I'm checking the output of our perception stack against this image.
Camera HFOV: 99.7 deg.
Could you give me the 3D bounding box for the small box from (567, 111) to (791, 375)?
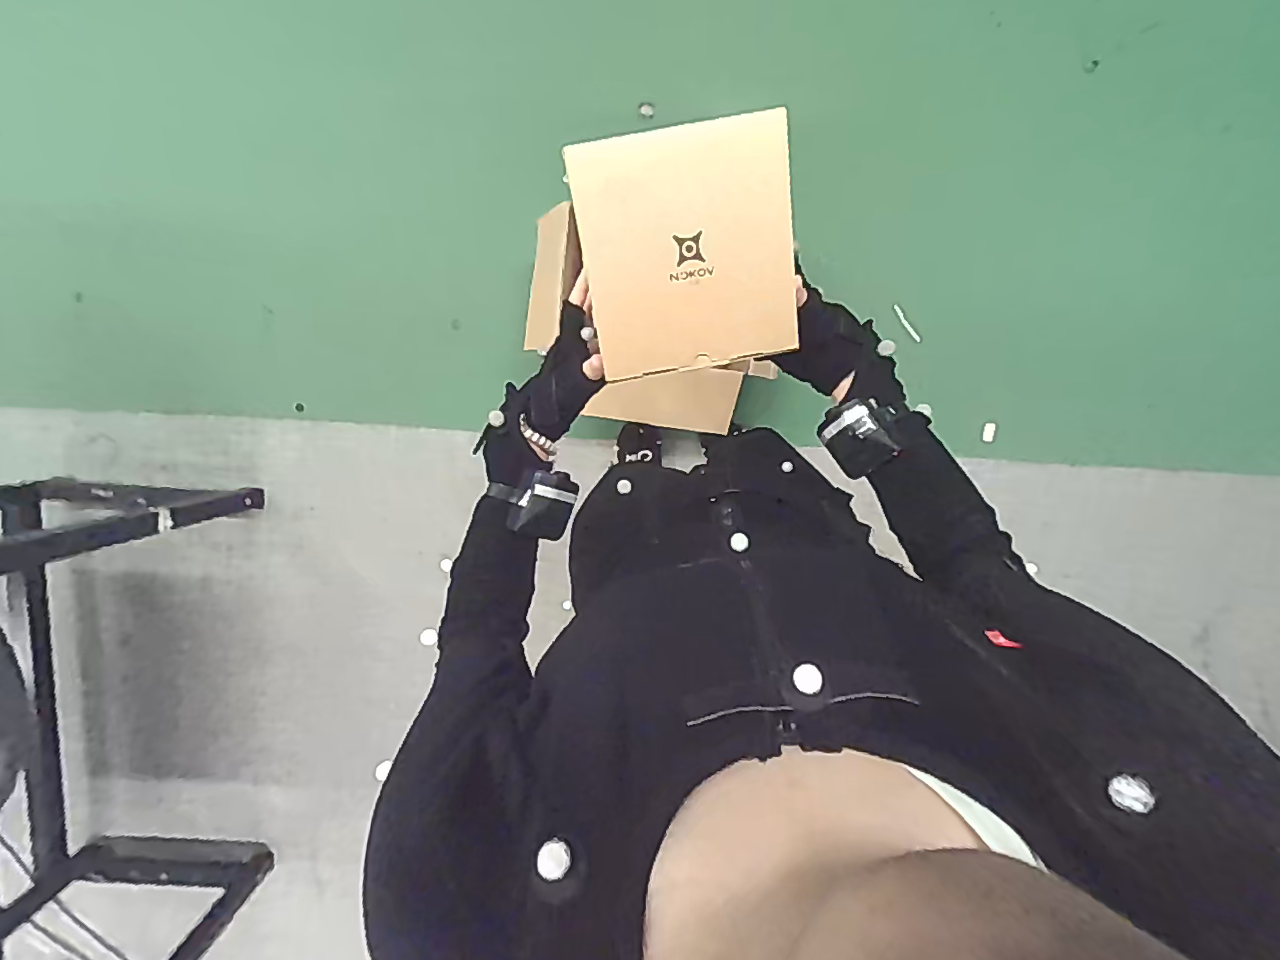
[{"bbox_3d":[0.029,-0.210,0.504,0.168,0.176,0.179,-10,112,-1],"label":"small box"}]
